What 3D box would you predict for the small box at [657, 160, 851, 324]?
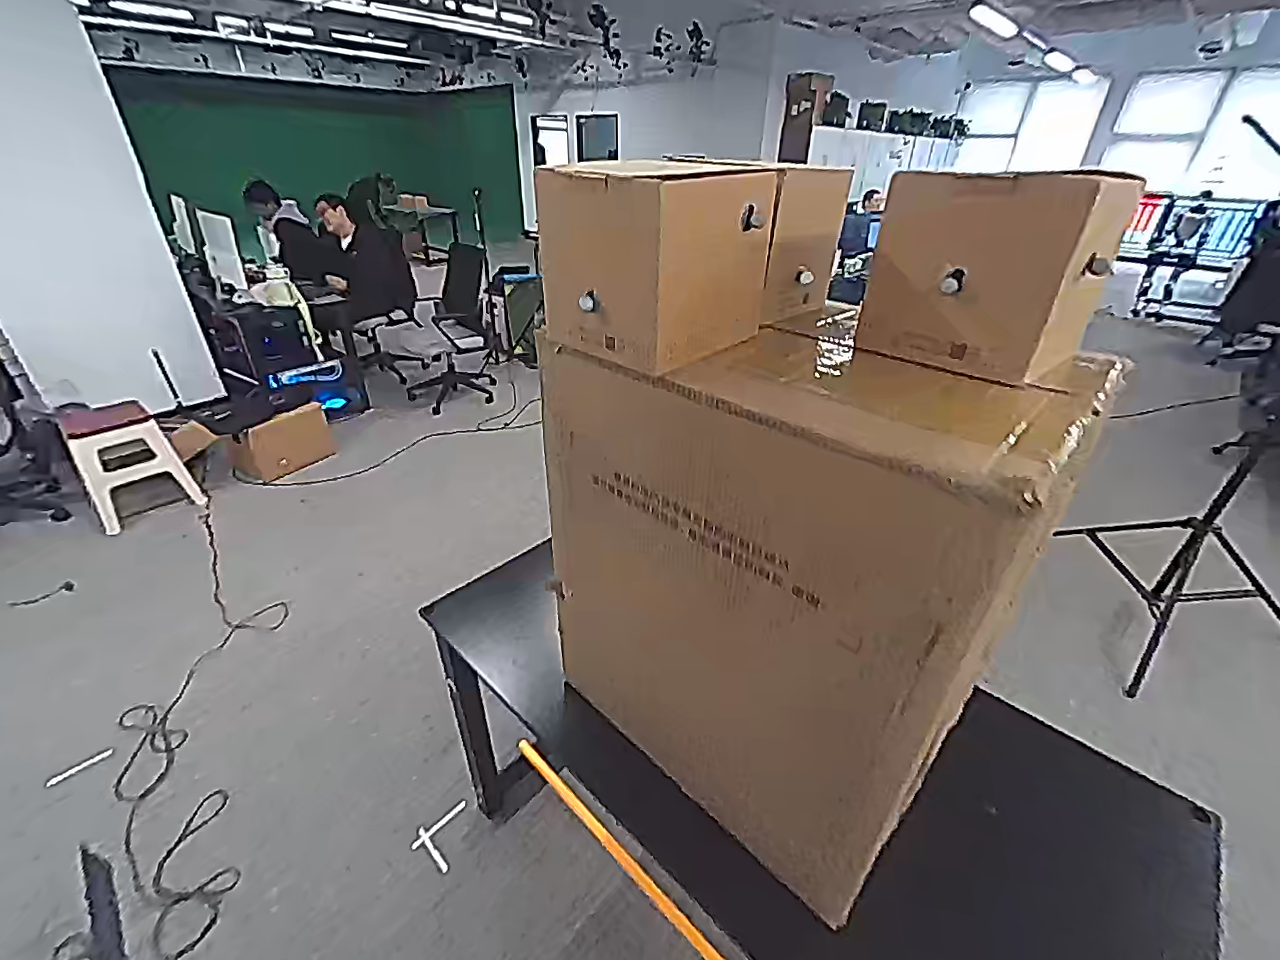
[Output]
[{"bbox_3d":[0.135,-0.307,0.693,0.179,0.176,0.168,28,40,35],"label":"small box"}]
